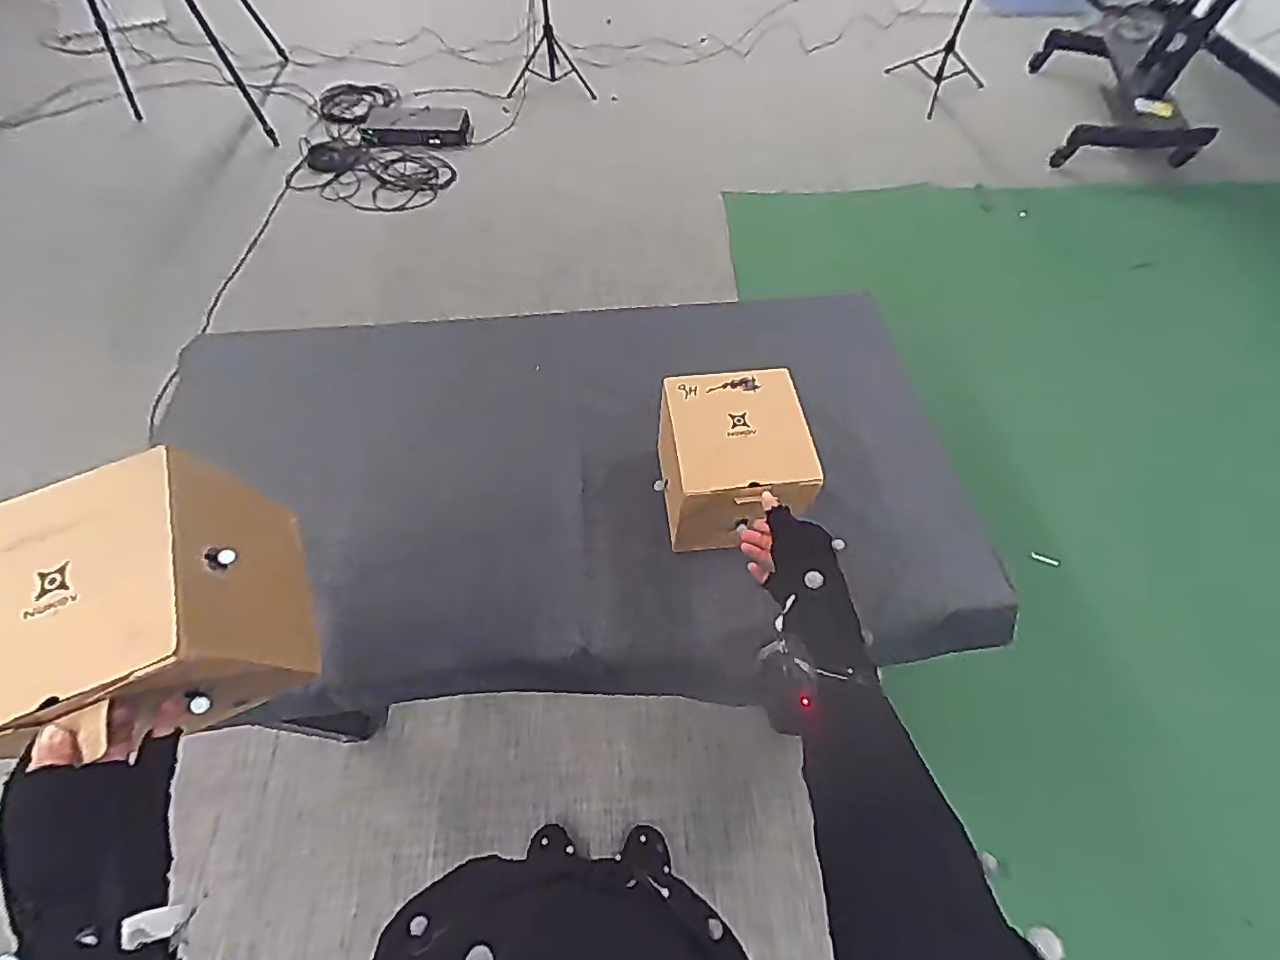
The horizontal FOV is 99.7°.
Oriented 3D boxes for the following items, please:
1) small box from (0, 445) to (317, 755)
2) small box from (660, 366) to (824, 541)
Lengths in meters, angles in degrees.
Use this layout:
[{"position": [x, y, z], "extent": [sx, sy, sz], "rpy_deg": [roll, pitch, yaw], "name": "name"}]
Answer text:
[{"position": [-0.401, 0.106, 0.449], "extent": [0.168, 0.176, 0.179], "rpy_deg": [-23, 66, -7], "name": "small box"}, {"position": [0.121, -0.027, 0.722], "extent": [0.168, 0.176, 0.179], "rpy_deg": [-4, 61, -5], "name": "small box"}]
